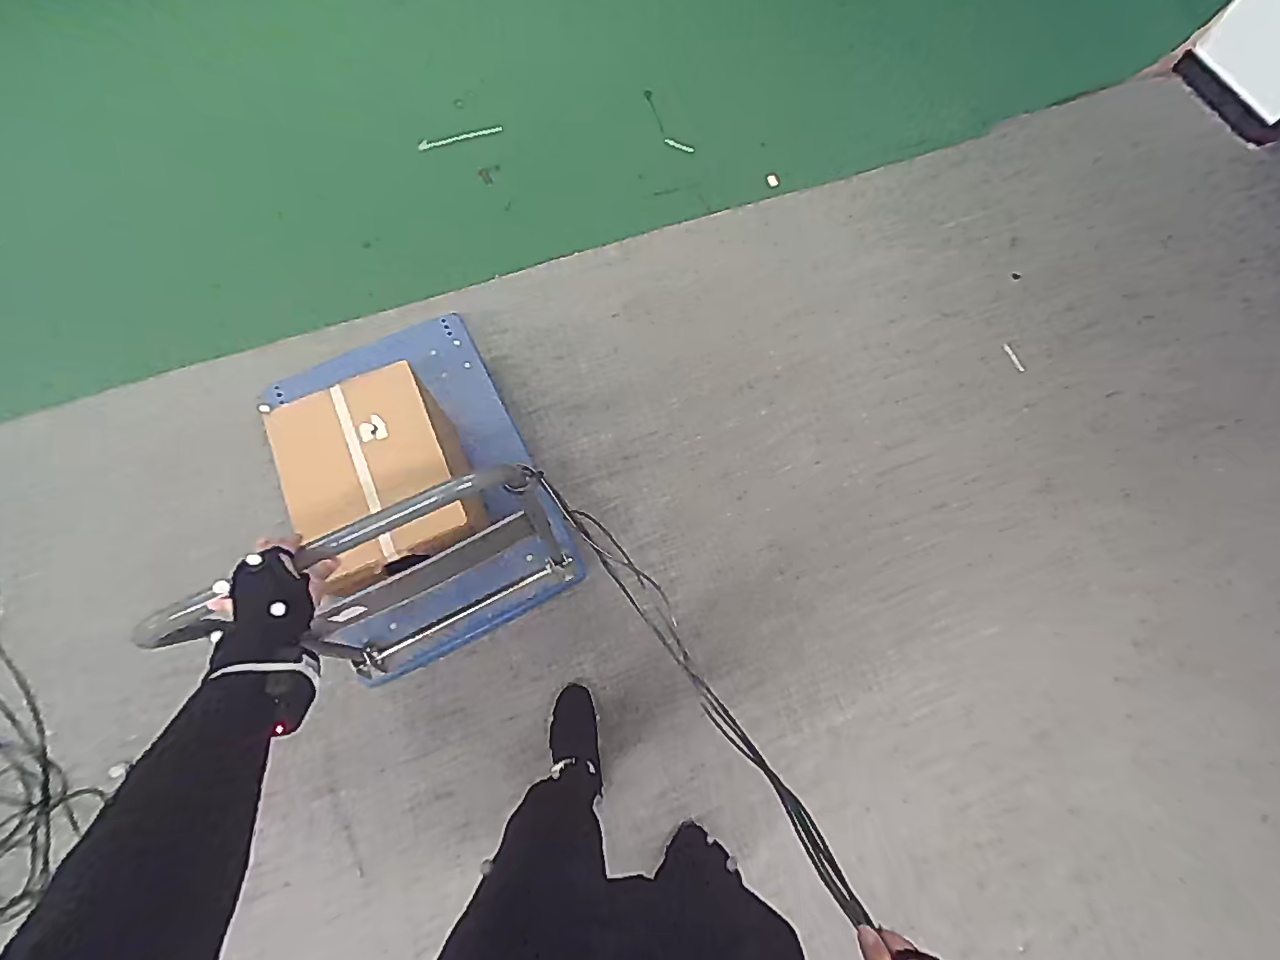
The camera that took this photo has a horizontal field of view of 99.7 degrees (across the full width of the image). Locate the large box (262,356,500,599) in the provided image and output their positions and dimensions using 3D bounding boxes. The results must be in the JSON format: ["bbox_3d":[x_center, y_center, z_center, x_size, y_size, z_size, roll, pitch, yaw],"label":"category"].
[{"bbox_3d":[-0.560,0.009,1.222,0.320,0.320,0.408,-24,72,-10],"label":"large box"}]
